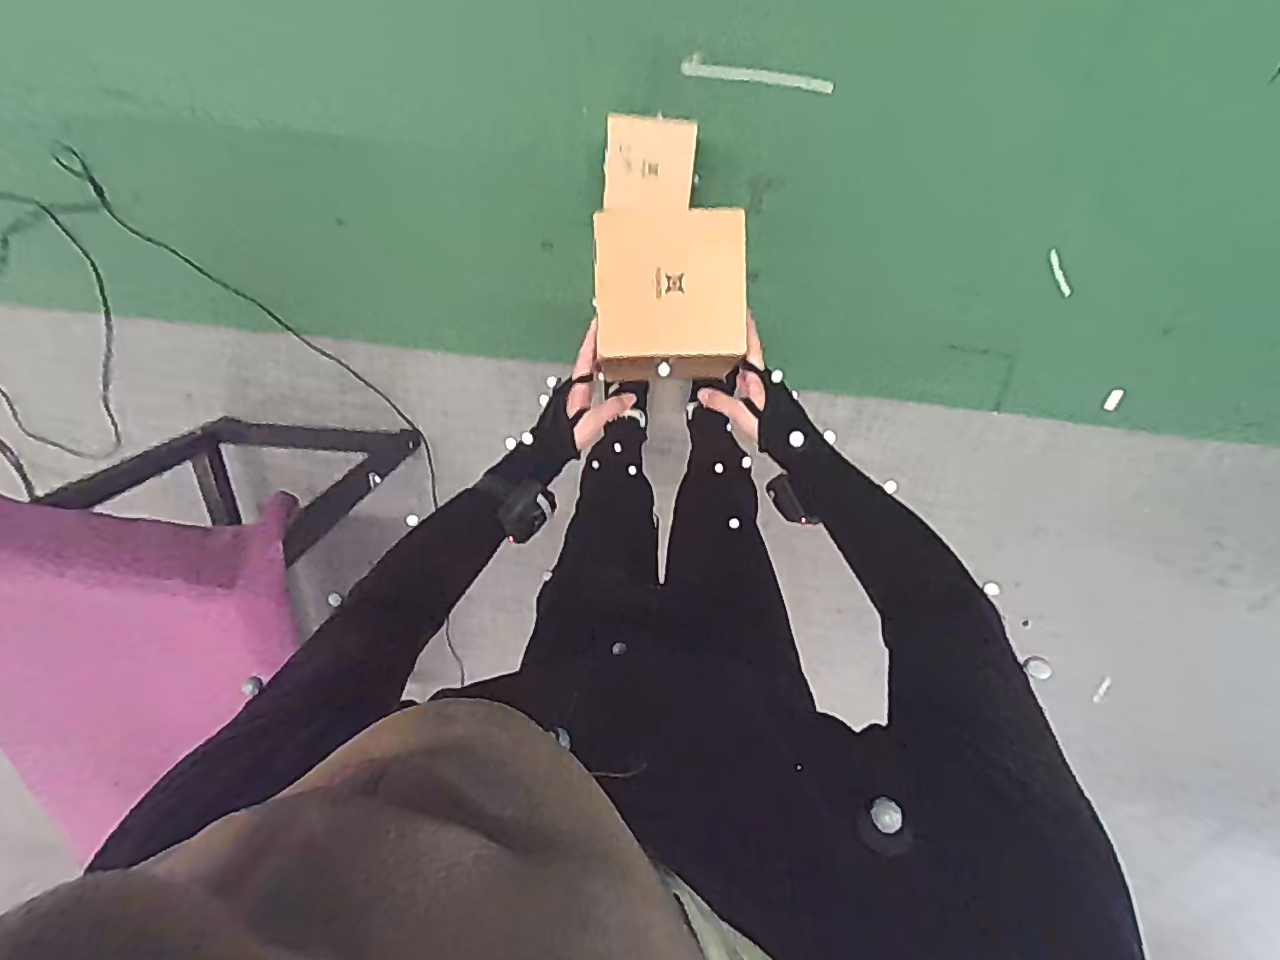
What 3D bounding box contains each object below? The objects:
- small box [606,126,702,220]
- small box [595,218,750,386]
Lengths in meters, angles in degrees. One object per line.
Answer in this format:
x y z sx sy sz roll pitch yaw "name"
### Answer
0.030 -0.631 1.141 0.179 0.176 0.168 7 115 1 "small box"
0.039 -0.216 0.692 0.179 0.176 0.168 -1 91 2 "small box"
